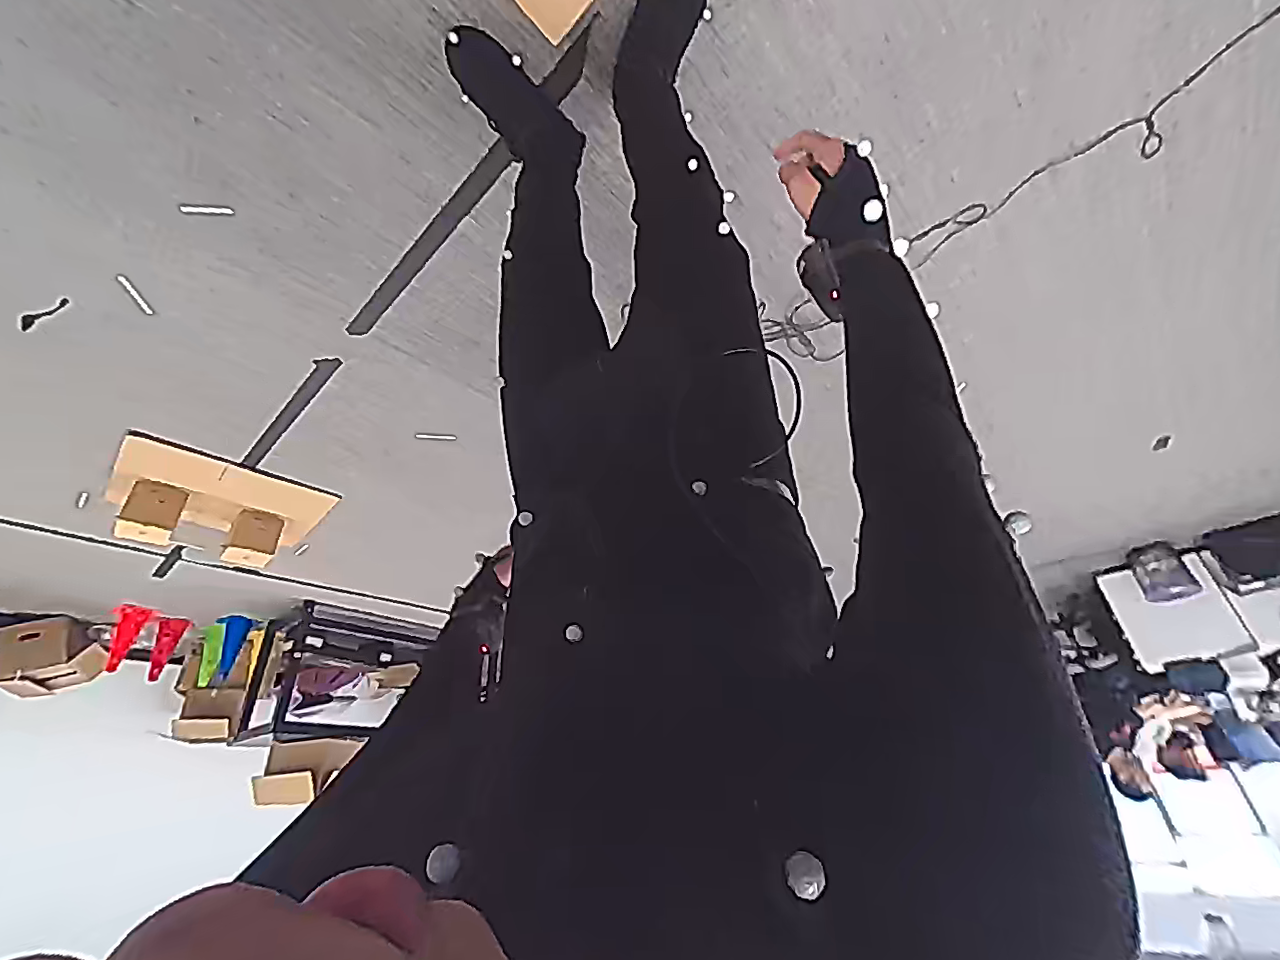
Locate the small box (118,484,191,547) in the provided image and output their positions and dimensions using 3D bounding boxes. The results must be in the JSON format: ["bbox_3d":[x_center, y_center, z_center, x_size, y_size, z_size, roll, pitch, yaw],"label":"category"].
[{"bbox_3d":[-1.907,0.142,2.125,0.168,0.176,0.179,23,139,-36],"label":"small box"}]

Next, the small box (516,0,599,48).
[{"bbox_3d":[-0.104,-0.710,0.669,0.179,0.176,0.168,-27,140,33],"label":"small box"}]

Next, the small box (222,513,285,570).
[{"bbox_3d":[-1.666,0.266,2.337,0.168,0.176,0.179,25,138,-39],"label":"small box"}]
